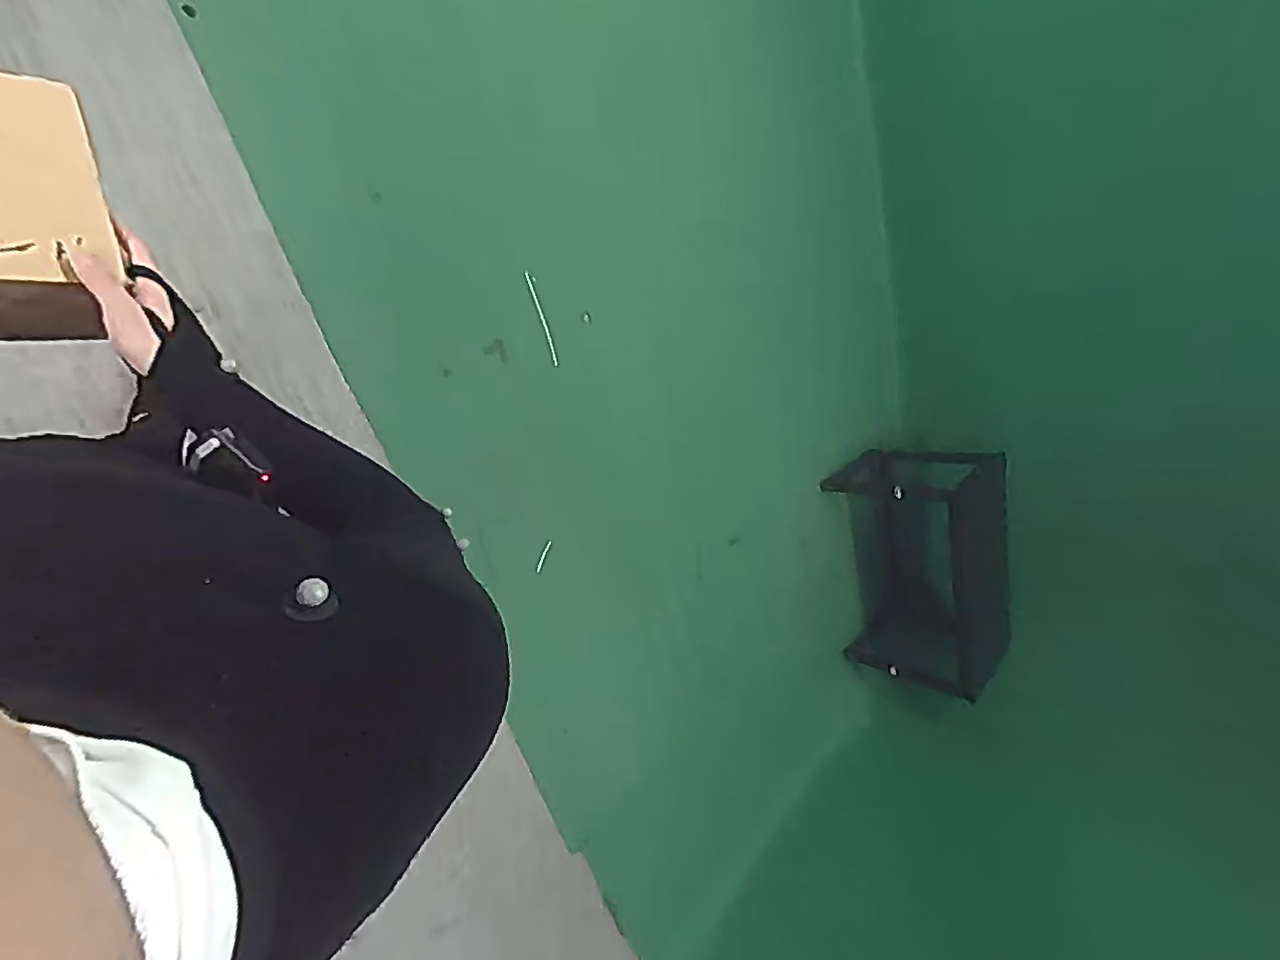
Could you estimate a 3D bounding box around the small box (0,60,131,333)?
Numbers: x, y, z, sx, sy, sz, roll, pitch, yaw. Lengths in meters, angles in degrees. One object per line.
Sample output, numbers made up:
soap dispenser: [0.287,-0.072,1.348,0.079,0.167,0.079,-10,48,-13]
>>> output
small box: [-0.577,-0.238,0.467,0.168,0.176,0.179,-16,97,-46]
